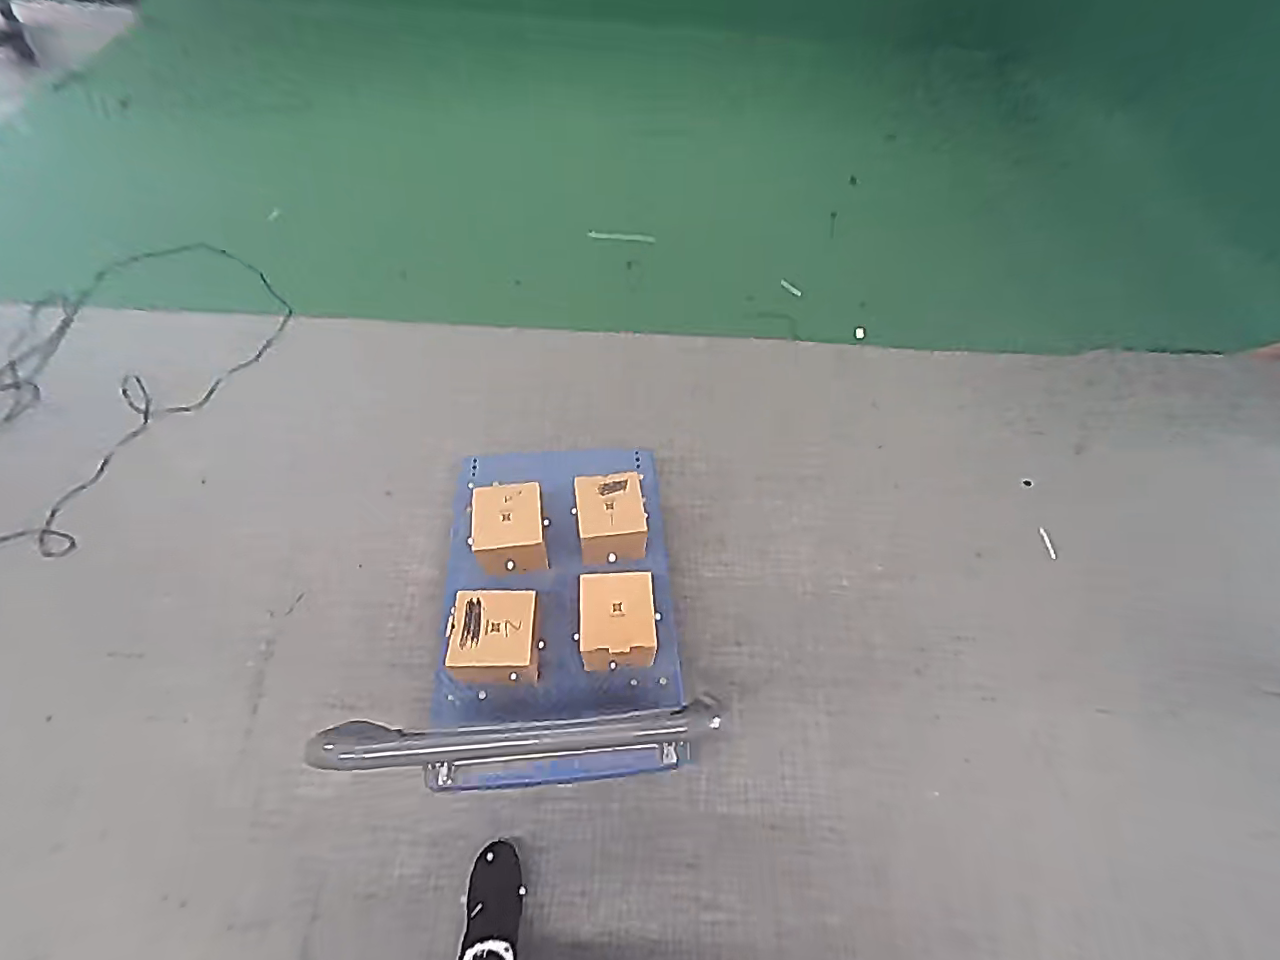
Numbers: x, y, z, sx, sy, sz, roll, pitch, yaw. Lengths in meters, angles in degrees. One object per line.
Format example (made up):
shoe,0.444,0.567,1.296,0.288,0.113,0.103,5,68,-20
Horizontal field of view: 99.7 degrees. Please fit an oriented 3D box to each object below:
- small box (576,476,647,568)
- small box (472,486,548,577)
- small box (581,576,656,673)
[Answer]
small box,-0.078,0.112,1.409,0.168,0.176,0.179,-6,59,-6
small box,-0.327,0.138,1.379,0.168,0.176,0.179,-5,58,-7
small box,-0.055,0.339,1.265,0.168,0.176,0.179,-2,58,-5
